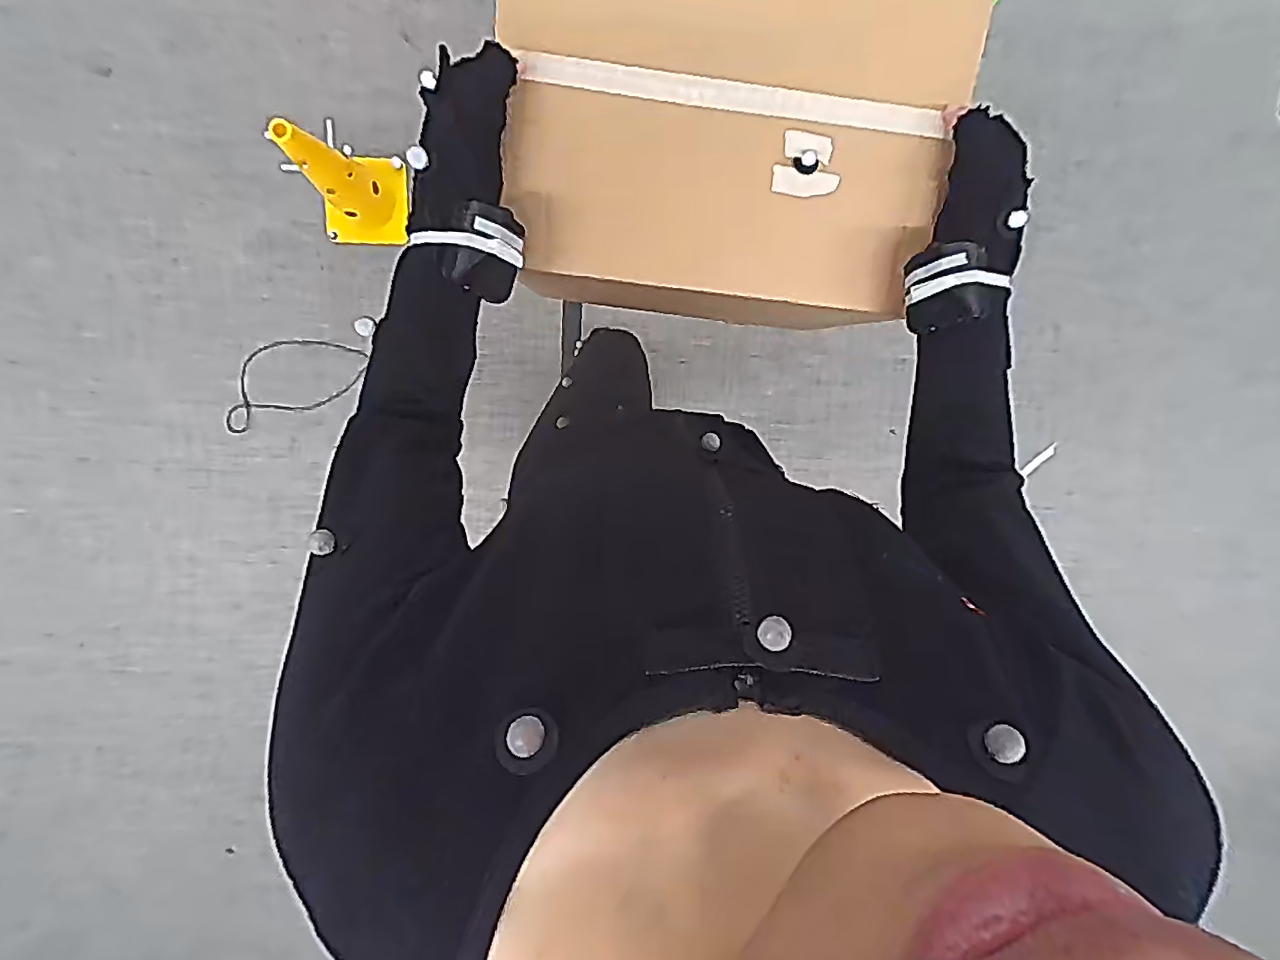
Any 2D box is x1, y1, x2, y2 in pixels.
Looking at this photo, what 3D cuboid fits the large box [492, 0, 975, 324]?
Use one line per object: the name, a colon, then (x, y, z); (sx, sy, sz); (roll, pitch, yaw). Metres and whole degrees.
large box: (0.068, -0.361, 0.608); (0.408, 0.320, 0.320); (5, 103, -5)
